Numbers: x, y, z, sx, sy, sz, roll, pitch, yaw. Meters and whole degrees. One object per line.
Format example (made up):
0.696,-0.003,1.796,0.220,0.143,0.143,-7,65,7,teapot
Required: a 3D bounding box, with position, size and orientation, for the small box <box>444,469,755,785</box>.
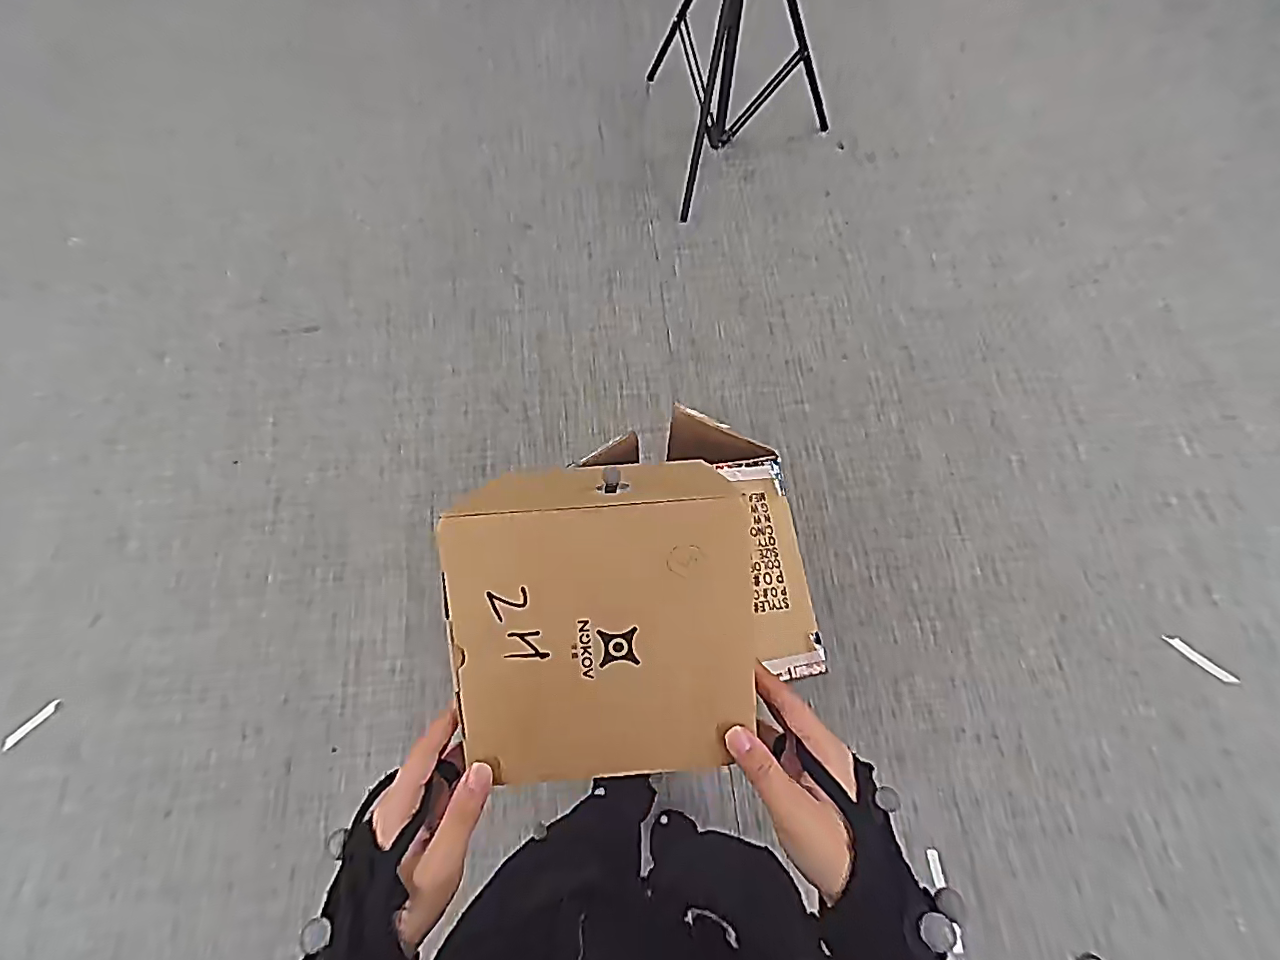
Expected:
-0.024,0.086,0.397,0.179,0.176,0.168,-4,98,-2,small box
